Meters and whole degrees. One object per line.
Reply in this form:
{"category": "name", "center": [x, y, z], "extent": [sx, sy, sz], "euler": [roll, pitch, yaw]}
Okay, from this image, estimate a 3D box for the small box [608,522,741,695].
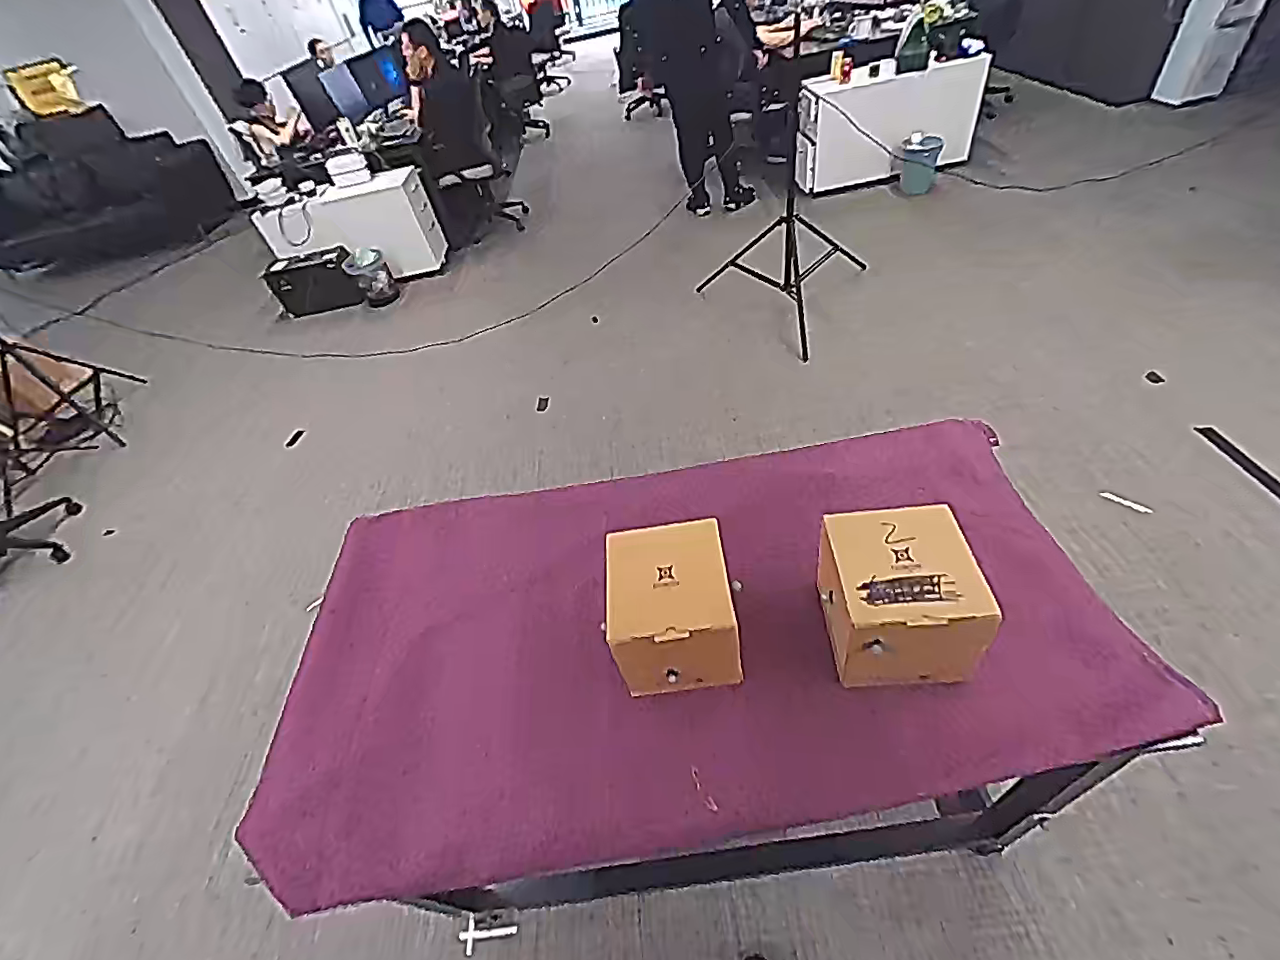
{"category": "small box", "center": [0.050, 0.188, 0.786], "extent": [0.168, 0.176, 0.179], "euler": [-9, 45, 5]}
